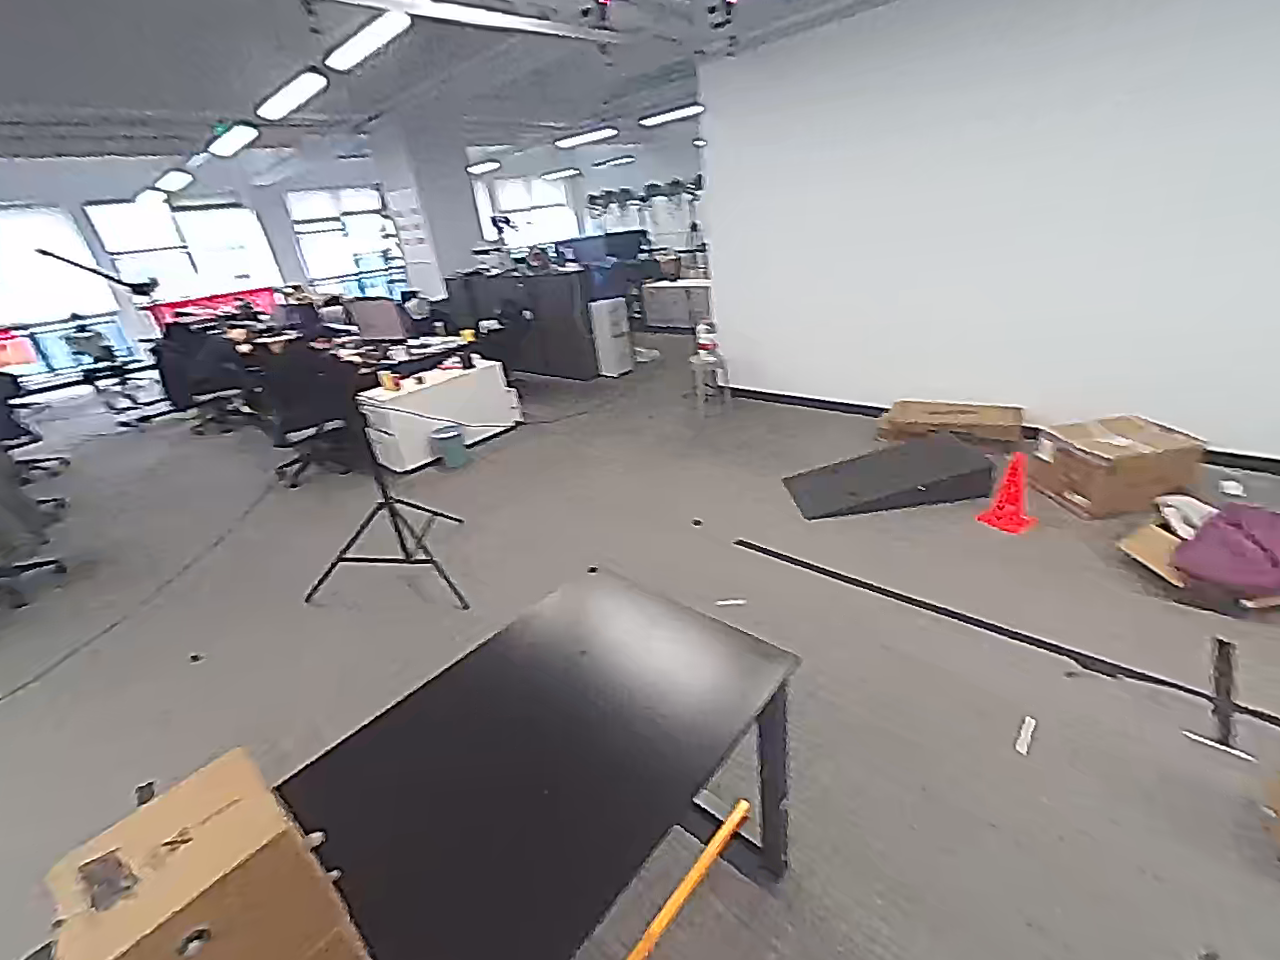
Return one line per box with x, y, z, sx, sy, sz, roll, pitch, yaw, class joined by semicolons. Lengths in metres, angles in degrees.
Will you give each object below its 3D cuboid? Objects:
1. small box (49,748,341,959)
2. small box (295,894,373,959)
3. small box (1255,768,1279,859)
-0.462;0.443;0.577;0.168;0.176;0.179;15;34;39;small box
-0.443;0.589;0.650;0.179;0.176;0.168;17;36;39;small box
1.624;0.817;1.277;0.179;0.176;0.168;12;33;35;small box
